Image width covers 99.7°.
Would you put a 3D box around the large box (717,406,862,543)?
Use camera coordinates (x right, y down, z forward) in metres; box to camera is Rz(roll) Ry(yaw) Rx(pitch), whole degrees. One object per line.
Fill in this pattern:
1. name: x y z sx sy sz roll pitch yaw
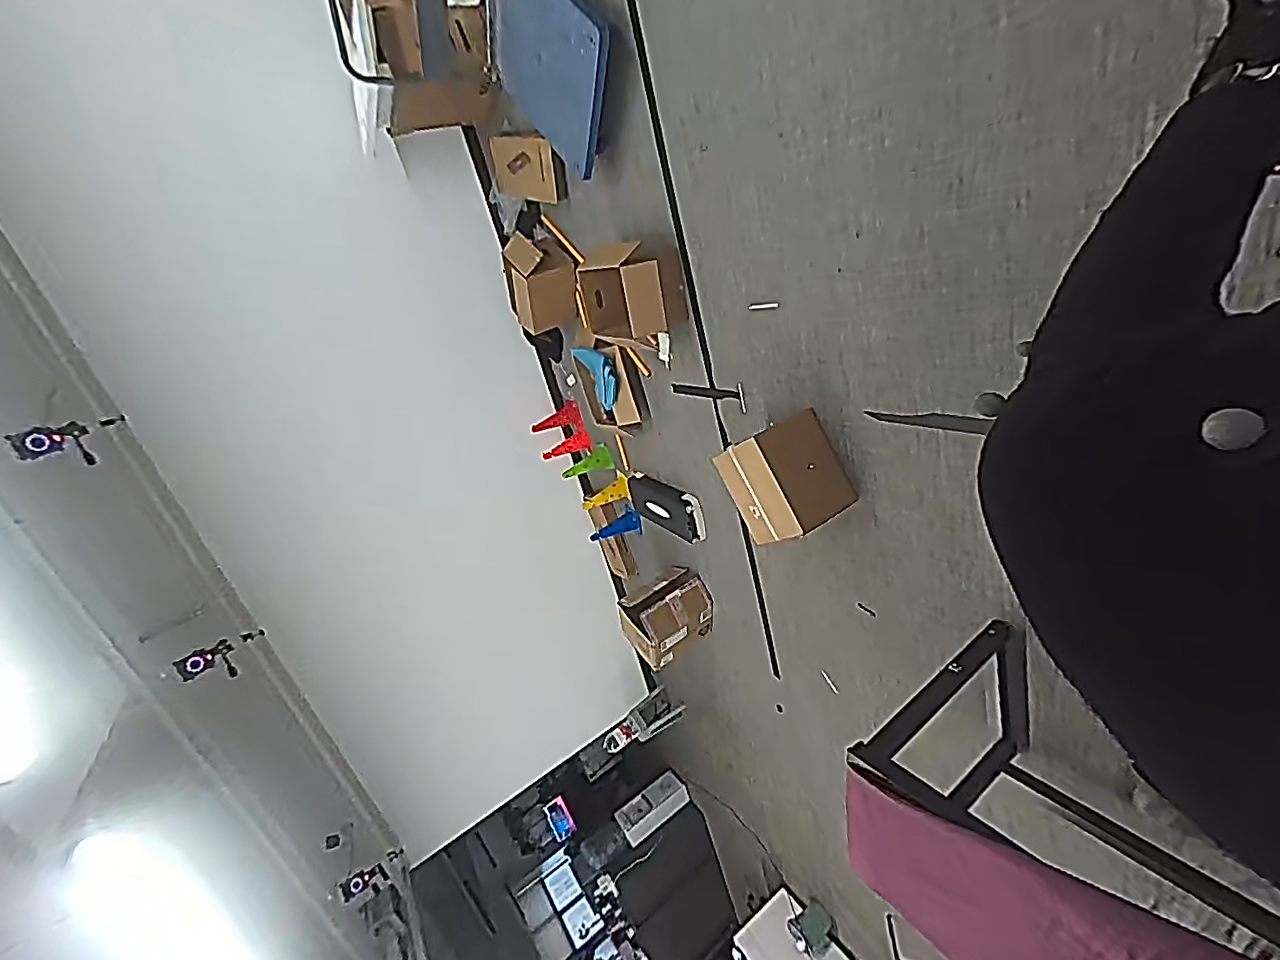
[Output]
1. large box: 0.579 -0.016 2.120 0.408 0.320 0.320 61 156 2
